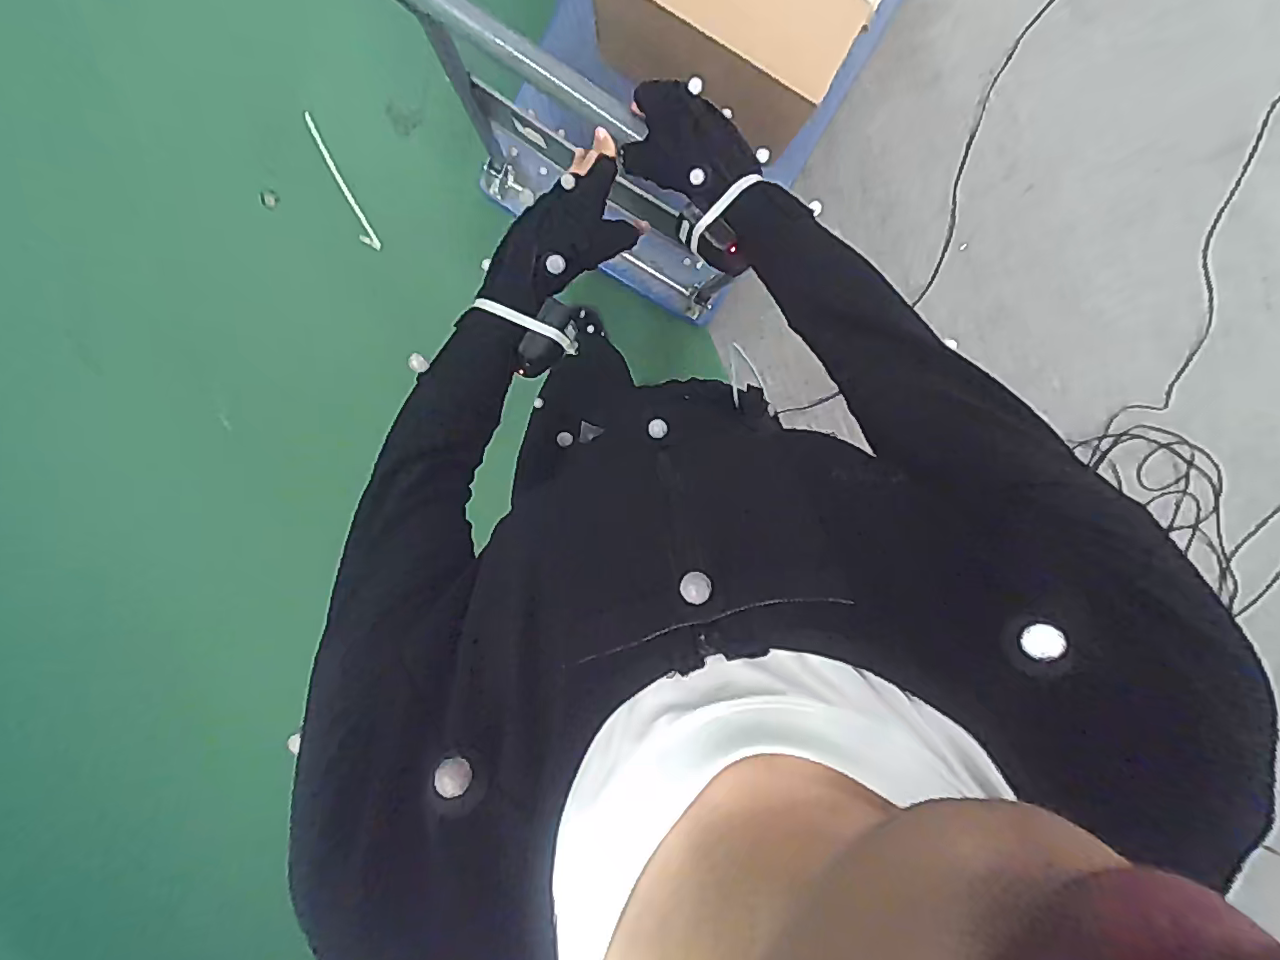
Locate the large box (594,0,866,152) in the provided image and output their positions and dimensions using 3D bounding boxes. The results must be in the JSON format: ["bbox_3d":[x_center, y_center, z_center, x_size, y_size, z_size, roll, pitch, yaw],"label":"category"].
[{"bbox_3d":[0.168,-0.852,0.927,0.408,0.320,0.320,27,102,-7],"label":"large box"}]
